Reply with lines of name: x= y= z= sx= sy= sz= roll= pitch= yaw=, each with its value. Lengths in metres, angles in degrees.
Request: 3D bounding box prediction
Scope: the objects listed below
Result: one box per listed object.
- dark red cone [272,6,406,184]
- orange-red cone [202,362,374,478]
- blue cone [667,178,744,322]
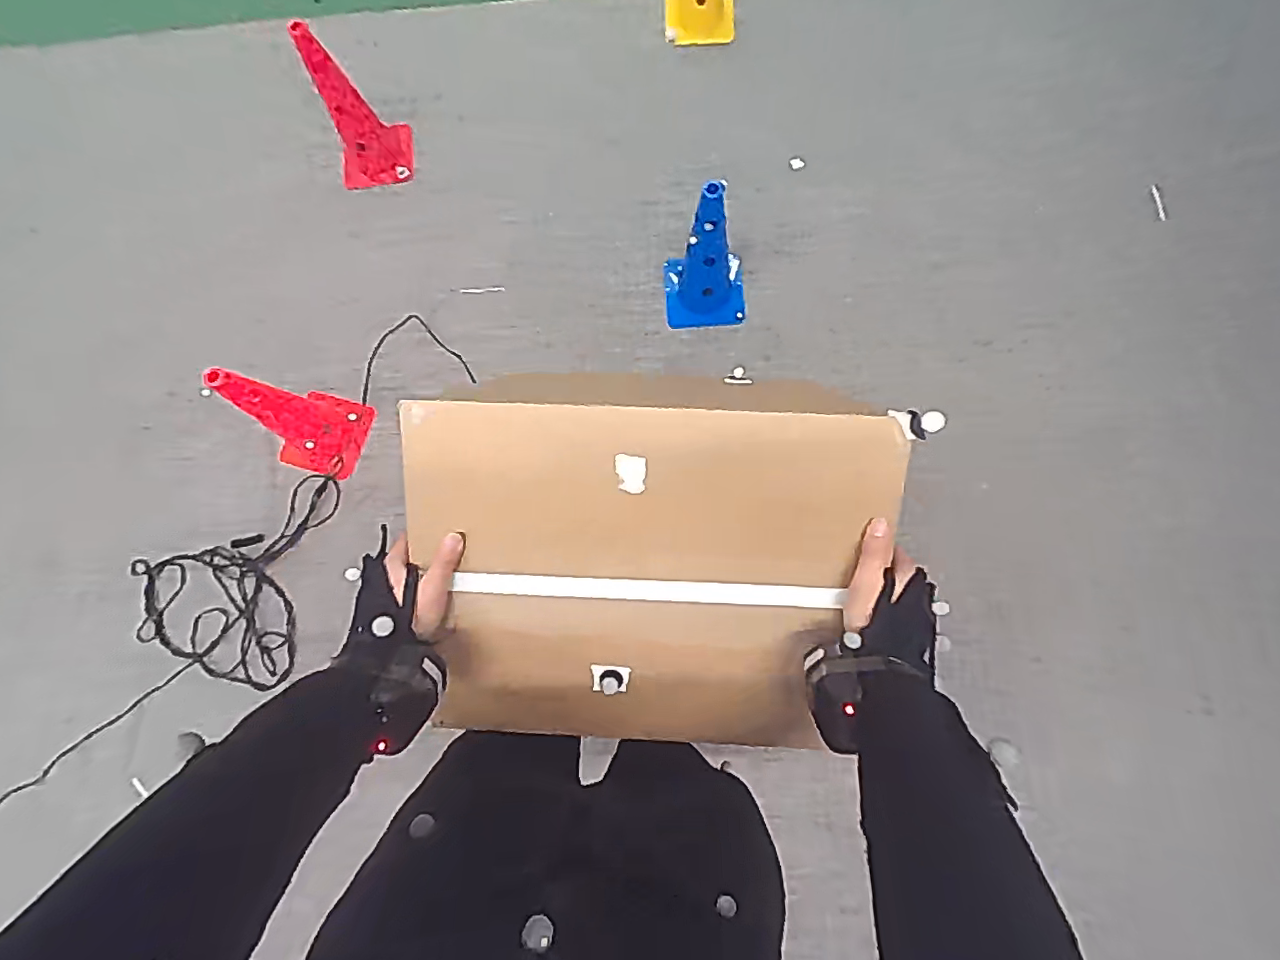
dark red cone: x=-0.772 y=-0.976 z=1.374 sx=0.202 sy=0.394 sz=0.201 roll=-10 pitch=73 yaw=2
orange-red cone: x=-0.801 y=-0.160 z=1.194 sx=0.199 sy=0.360 sz=0.198 roll=16 pitch=77 yaw=9
blue cone: x=0.157 y=-0.532 z=1.234 sx=0.192 sy=0.380 sz=0.193 roll=-3 pitch=76 yaw=3
